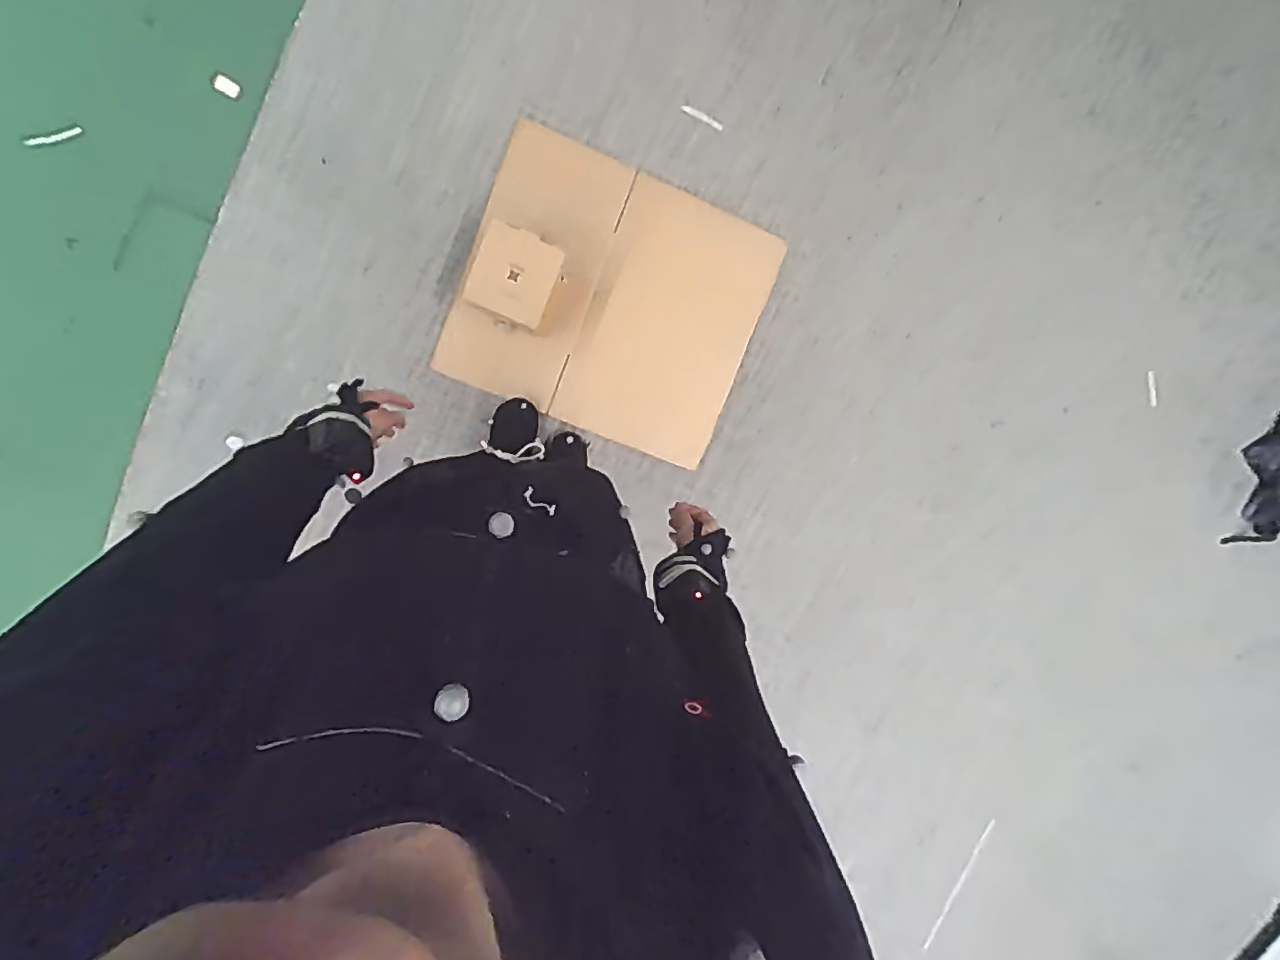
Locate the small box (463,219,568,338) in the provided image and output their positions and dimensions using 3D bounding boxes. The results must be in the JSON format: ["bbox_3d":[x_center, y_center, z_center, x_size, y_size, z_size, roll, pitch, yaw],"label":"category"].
[{"bbox_3d":[-0.264,-0.430,1.186,0.168,0.176,0.179,22,96,-8],"label":"small box"}]
